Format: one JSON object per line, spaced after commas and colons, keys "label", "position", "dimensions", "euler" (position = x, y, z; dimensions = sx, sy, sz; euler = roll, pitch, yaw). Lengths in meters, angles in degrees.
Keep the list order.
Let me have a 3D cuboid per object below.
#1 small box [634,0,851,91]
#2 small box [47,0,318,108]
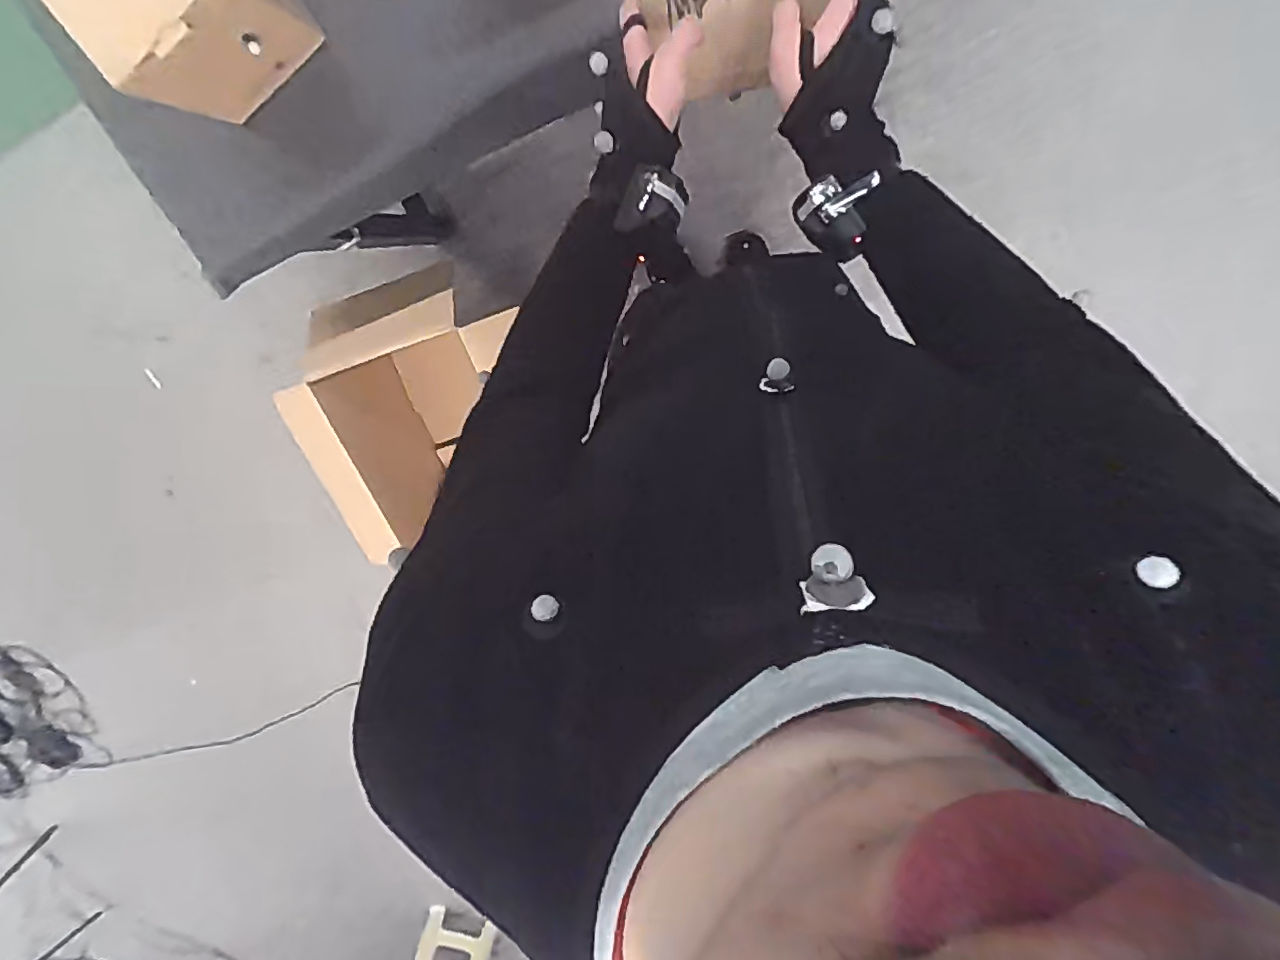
{"label": "small box", "position": [0.095, -0.463, 0.471], "dimensions": [0.179, 0.176, 0.168], "euler": [4, 137, 16]}
{"label": "small box", "position": [-0.492, -0.529, 0.566], "dimensions": [0.168, 0.176, 0.179], "euler": [-30, 107, 16]}
